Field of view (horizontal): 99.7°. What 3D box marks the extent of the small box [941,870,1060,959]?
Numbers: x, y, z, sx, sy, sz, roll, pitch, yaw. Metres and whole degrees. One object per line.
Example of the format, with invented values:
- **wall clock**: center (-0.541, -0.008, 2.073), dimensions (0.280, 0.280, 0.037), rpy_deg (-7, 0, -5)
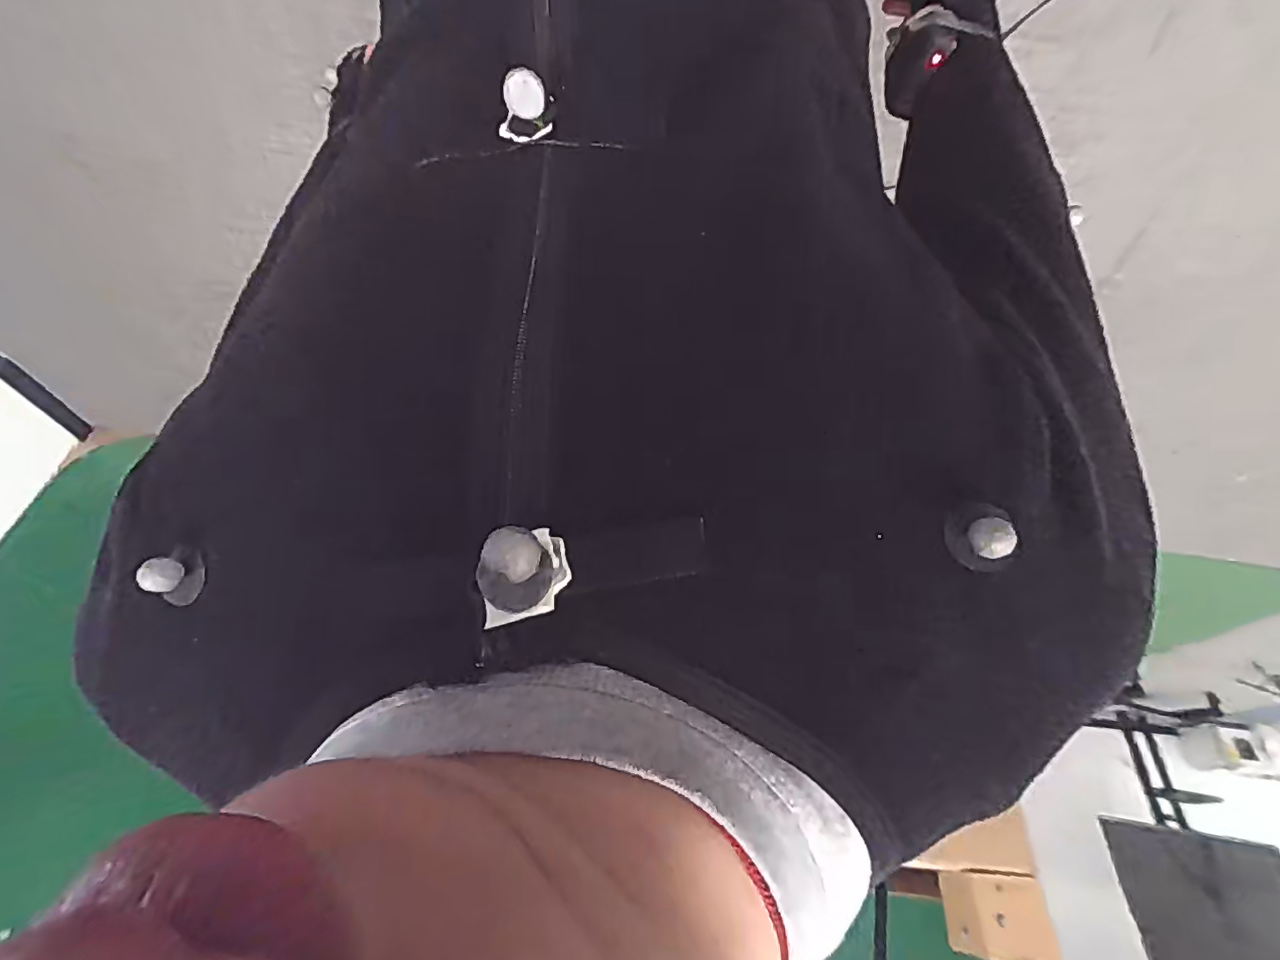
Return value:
- **small box**: center (0.857, 1.054, 1.307), dimensions (0.168, 0.176, 0.179), rpy_deg (5, 147, 3)
